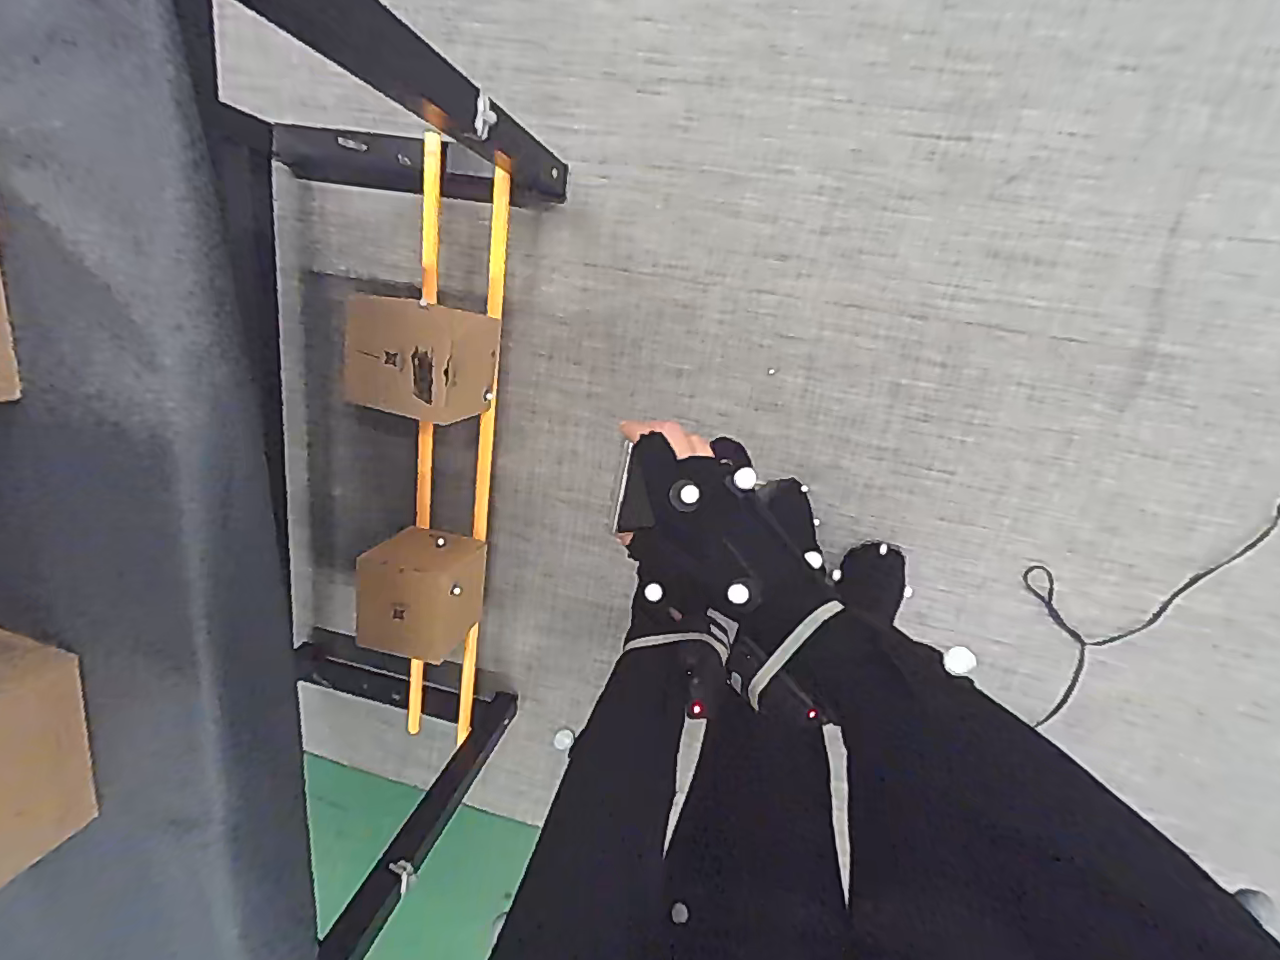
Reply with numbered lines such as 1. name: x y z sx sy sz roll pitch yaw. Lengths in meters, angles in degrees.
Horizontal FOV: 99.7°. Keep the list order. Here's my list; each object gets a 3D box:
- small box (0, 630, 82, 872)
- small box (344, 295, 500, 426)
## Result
1. small box: -0.564 0.220 0.390 0.168 0.176 0.179 14 107 8
2. small box: -0.350 -0.200 0.891 0.179 0.176 0.168 15 107 8
